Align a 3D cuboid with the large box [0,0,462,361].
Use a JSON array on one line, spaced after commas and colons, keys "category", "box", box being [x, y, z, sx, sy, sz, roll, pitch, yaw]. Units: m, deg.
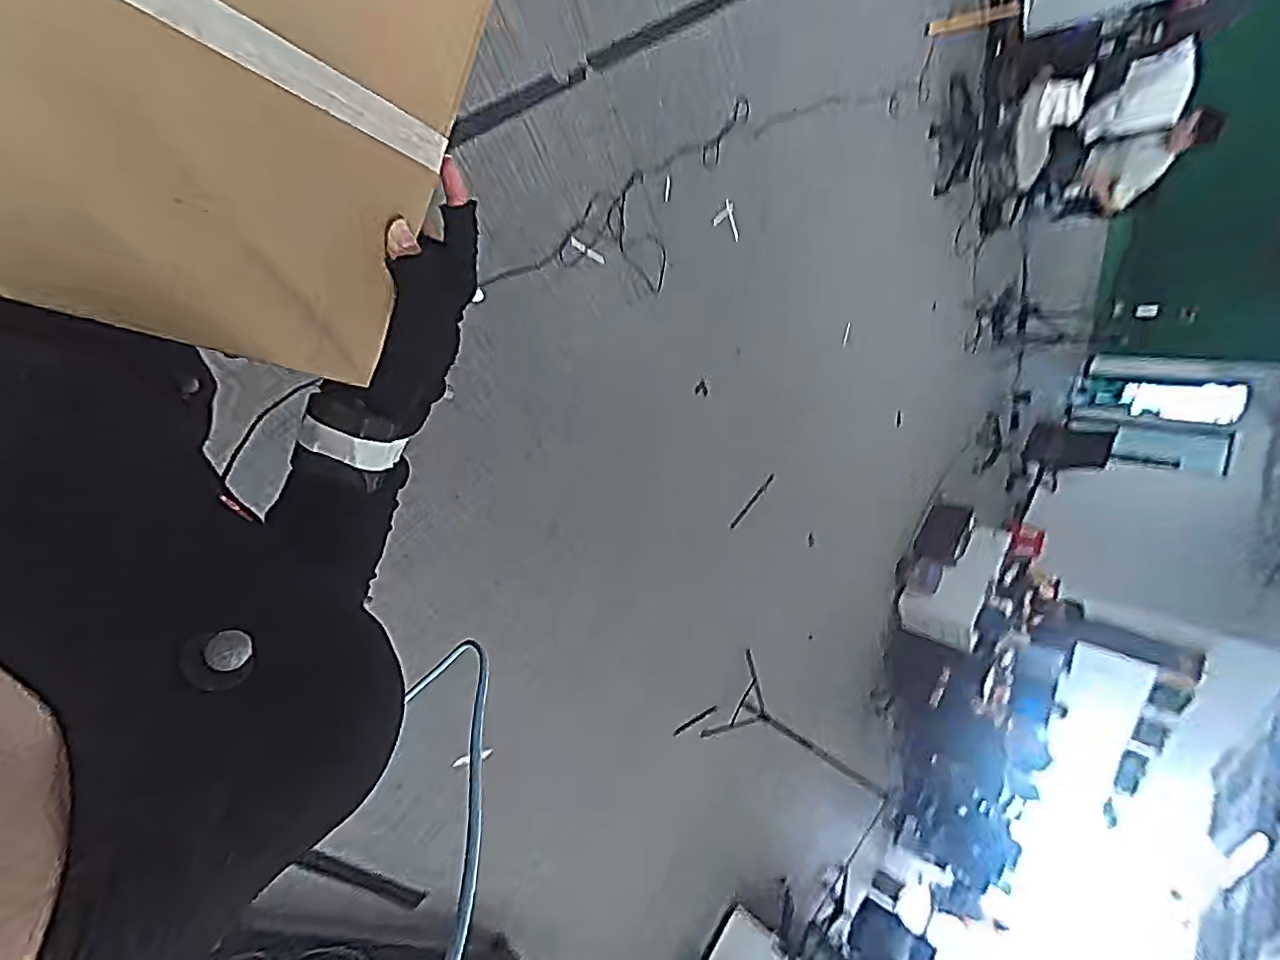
[{"category": "large box", "box": [-0.360, -0.302, 0.301, 0.408, 0.320, 0.320, 10, 109, -44]}]
